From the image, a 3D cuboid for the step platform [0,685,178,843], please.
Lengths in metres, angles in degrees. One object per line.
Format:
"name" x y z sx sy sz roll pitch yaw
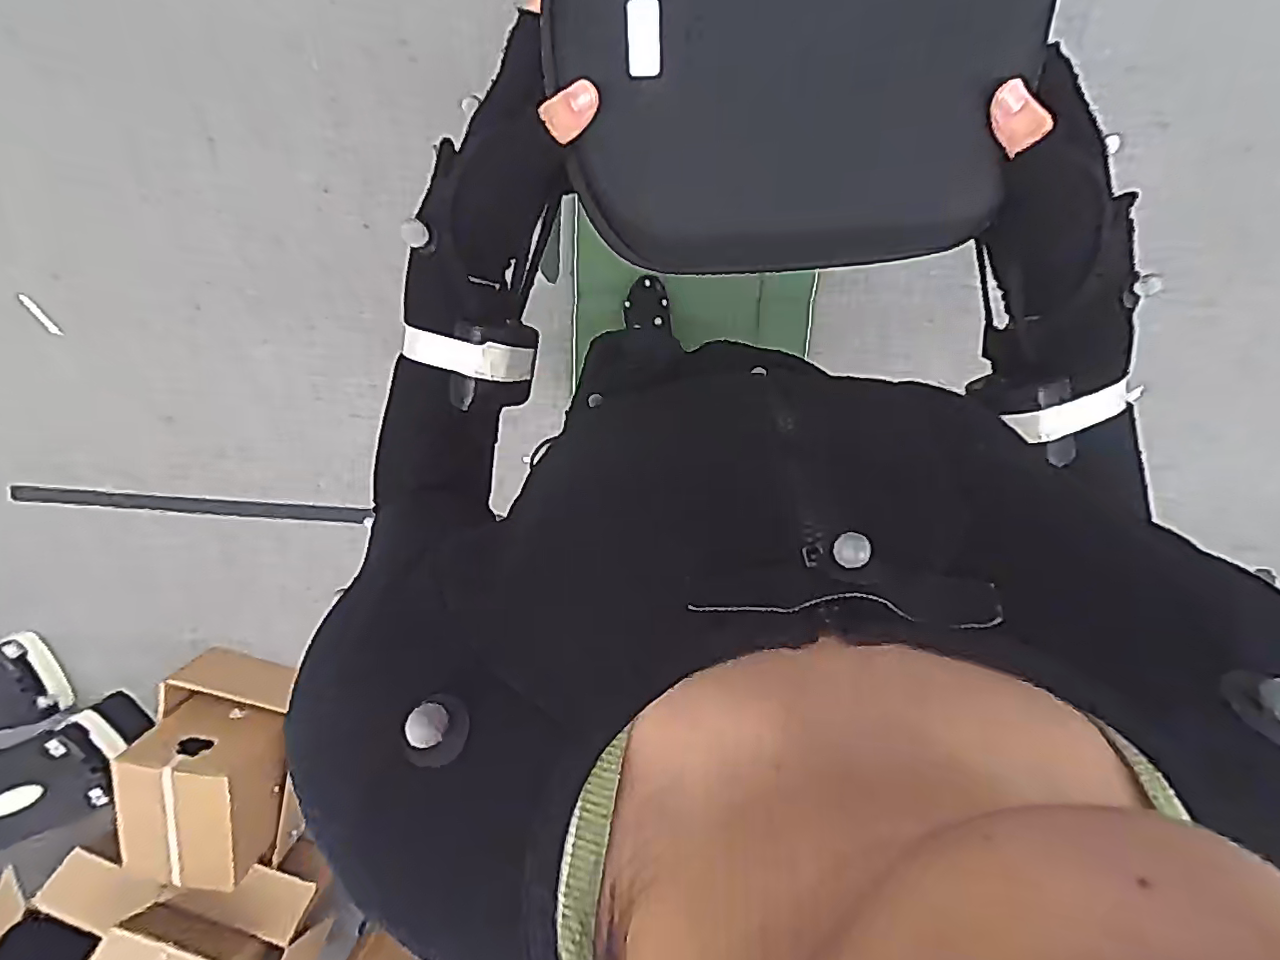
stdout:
"step platform" -1.913 0.937 1.762 0.684 0.204 0.286 -25 103 8
